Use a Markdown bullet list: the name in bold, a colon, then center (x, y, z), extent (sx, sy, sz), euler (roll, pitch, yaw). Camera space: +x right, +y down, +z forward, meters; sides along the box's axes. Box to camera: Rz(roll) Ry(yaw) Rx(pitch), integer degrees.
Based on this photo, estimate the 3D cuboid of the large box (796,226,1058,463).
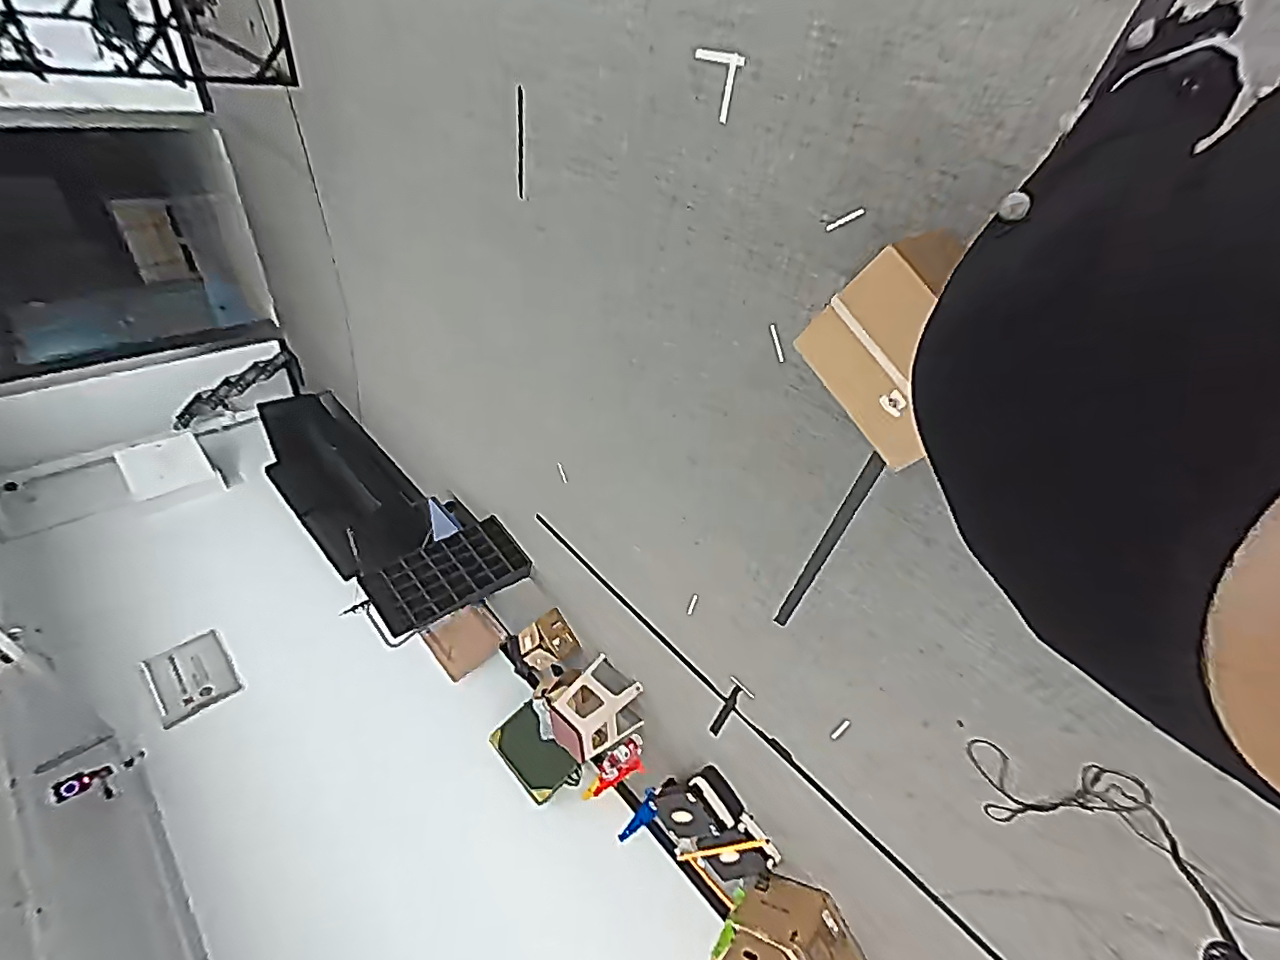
- **large box**: center (0.662, -0.321, 1.267), extent (0.408, 0.320, 0.320), euler (54, 143, 9)
